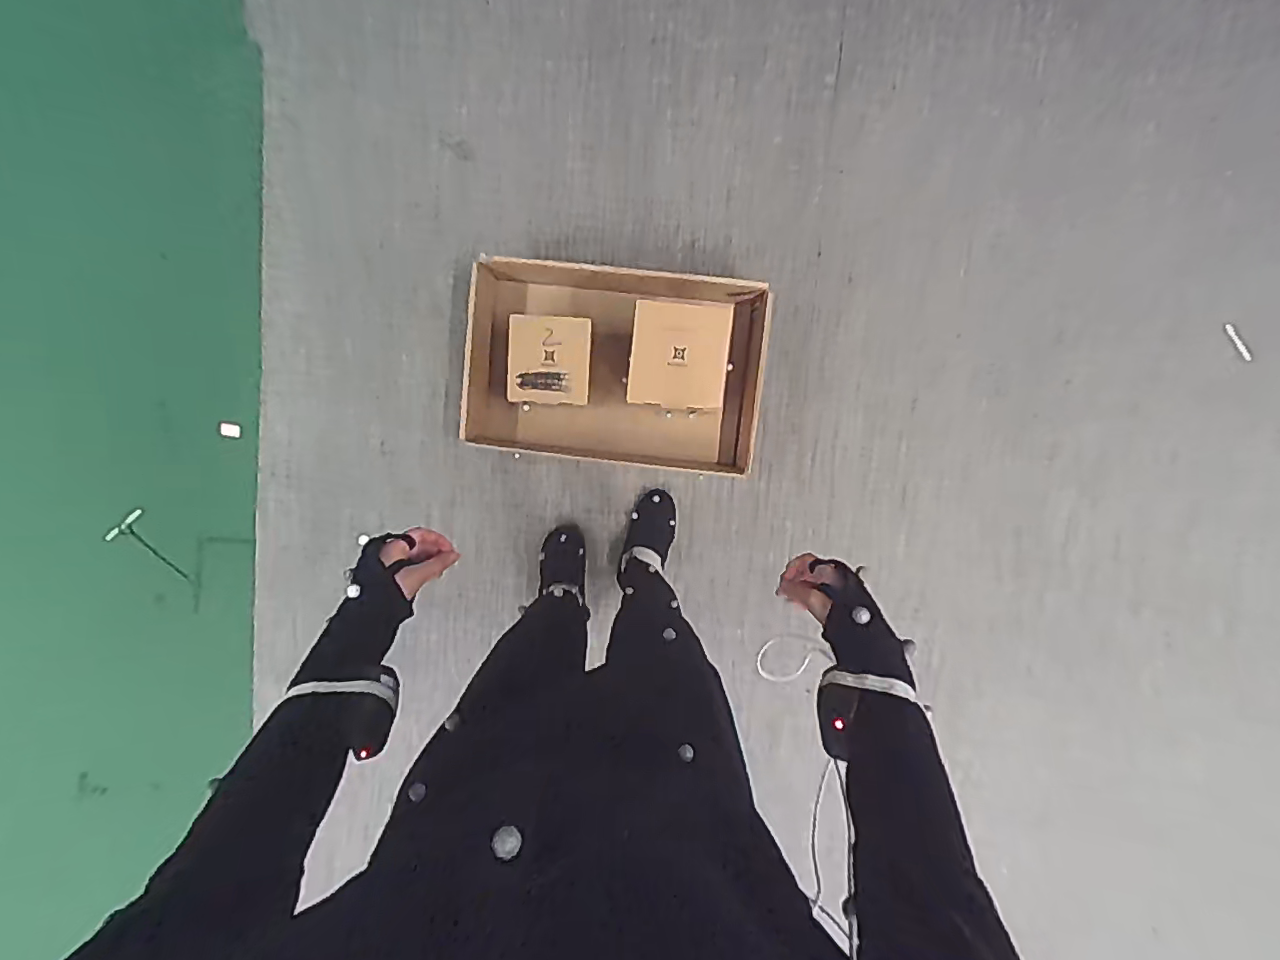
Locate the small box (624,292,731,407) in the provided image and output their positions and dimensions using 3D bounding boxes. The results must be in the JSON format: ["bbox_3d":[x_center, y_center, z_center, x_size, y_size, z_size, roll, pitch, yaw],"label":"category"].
[{"bbox_3d":[0.067,-0.231,1.000,0.168,0.176,0.179,7,96,2],"label":"small box"}]
